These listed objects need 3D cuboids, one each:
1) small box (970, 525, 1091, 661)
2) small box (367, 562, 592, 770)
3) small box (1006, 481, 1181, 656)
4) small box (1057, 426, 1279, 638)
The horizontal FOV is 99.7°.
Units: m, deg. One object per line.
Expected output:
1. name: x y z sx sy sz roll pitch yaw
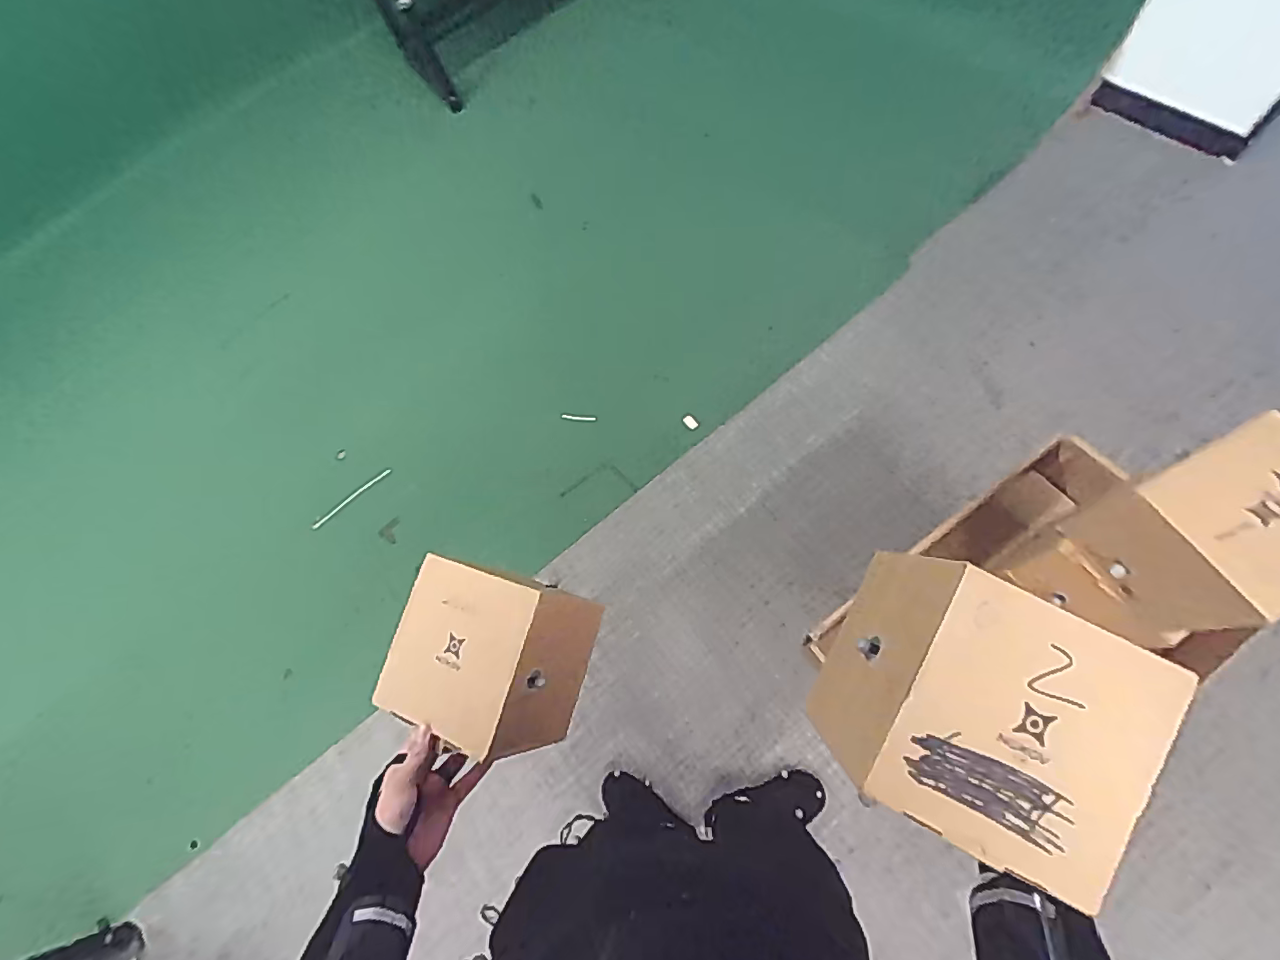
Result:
1. small box: 0.721 0.193 0.939 0.179 0.176 0.168 -37 66 -4
2. small box: -0.179 0.214 0.652 0.168 0.176 0.179 12 78 24
3. small box: 0.690 0.136 0.790 0.179 0.176 0.168 -38 67 -4
4. small box: 0.662 0.071 0.642 0.179 0.176 0.168 -29 67 0
